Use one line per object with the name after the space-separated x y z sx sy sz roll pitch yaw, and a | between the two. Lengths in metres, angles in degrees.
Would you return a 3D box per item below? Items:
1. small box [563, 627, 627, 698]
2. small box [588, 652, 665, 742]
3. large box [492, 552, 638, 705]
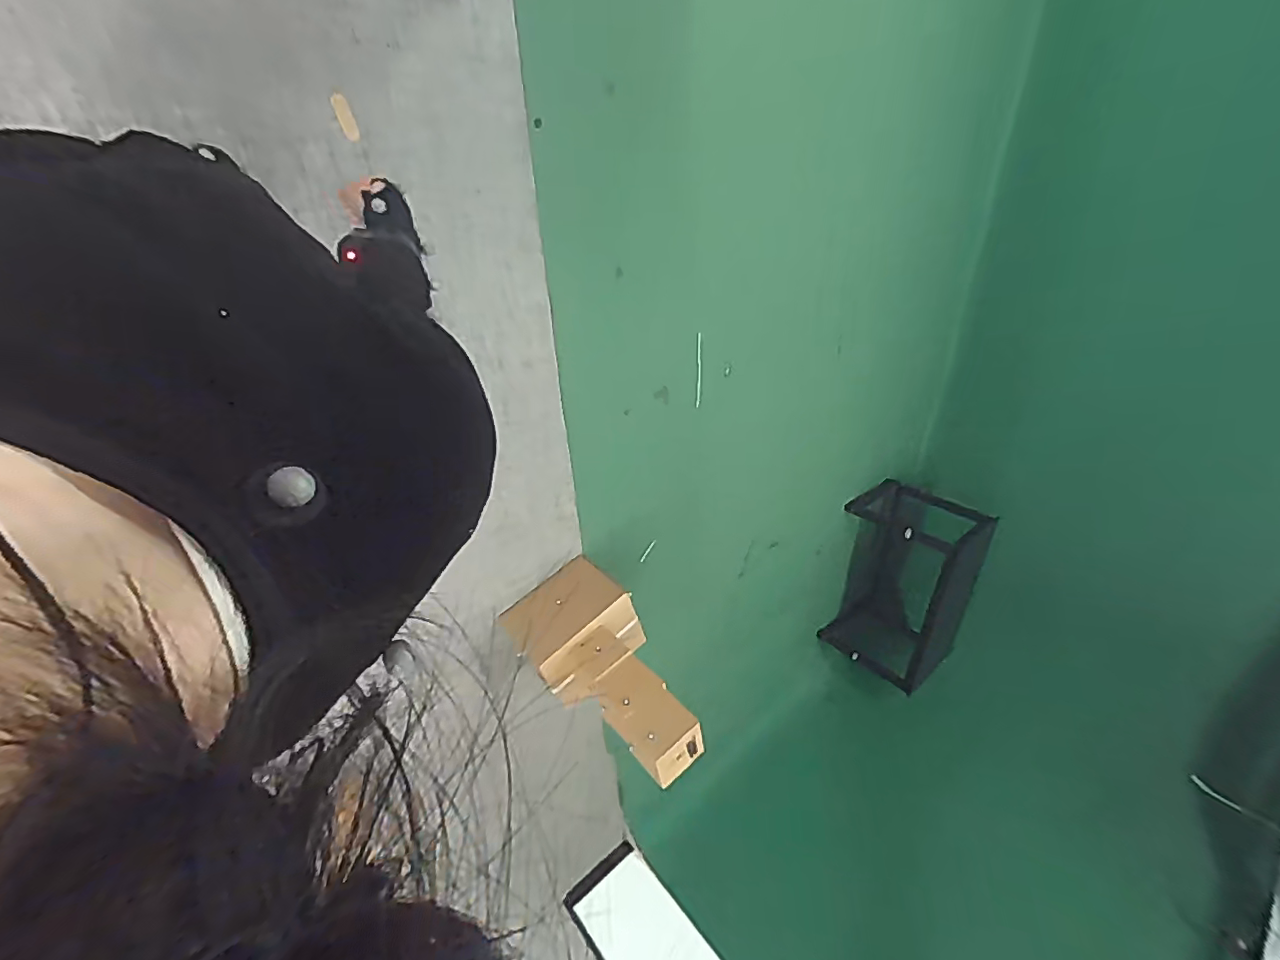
-0.147 0.637 1.876 0.168 0.176 0.179 -32 131 -27 | small box
-0.043 0.704 1.770 0.179 0.176 0.168 -31 130 -28 | small box
-0.280 0.557 2.070 0.408 0.320 0.320 -38 135 -25 | large box
